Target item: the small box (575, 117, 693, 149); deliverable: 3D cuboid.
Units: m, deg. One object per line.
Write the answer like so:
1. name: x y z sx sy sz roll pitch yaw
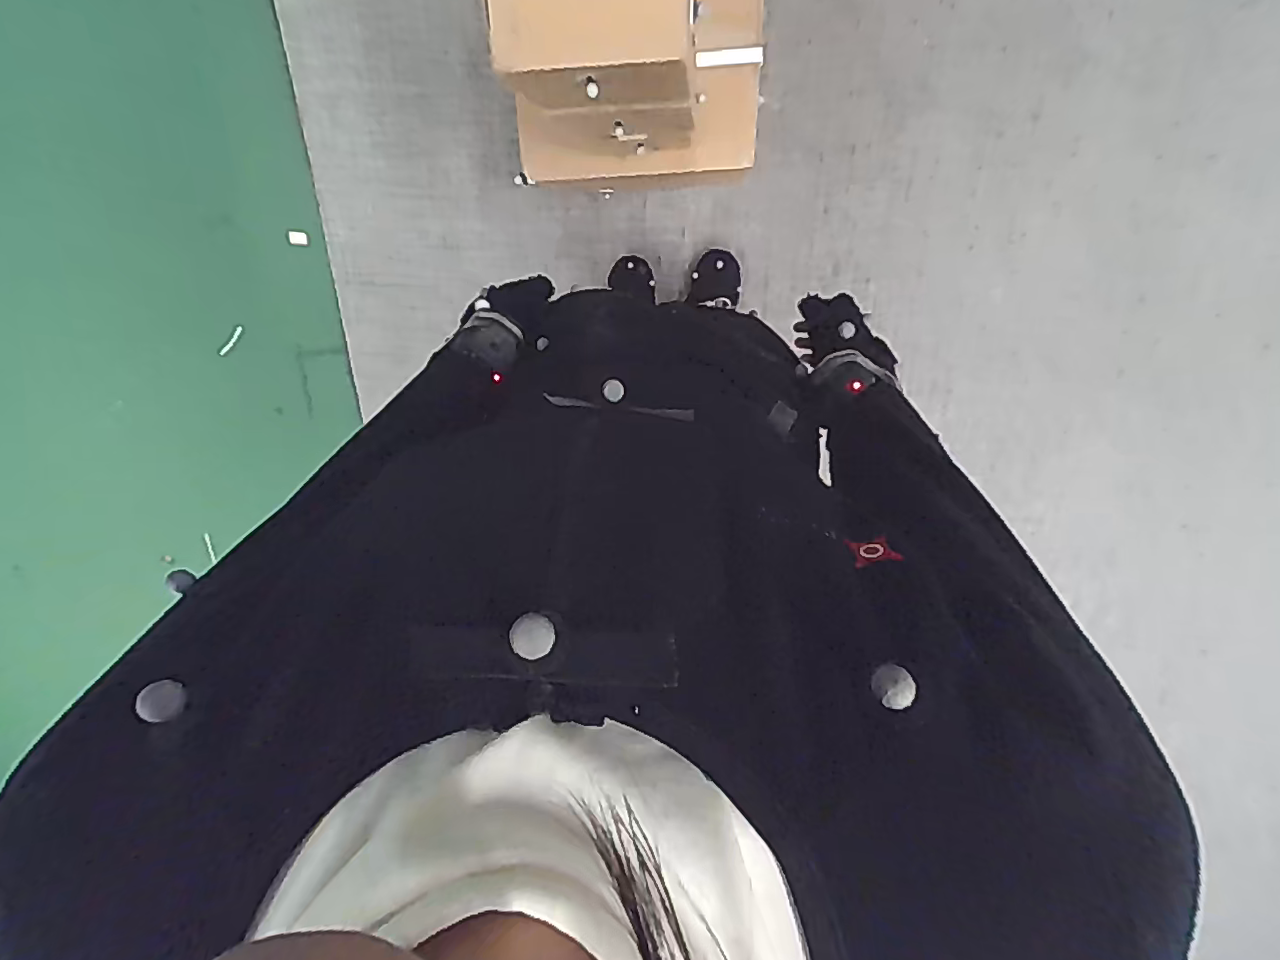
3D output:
1. small box: -0.007 -0.606 0.808 0.168 0.176 0.179 0 115 9

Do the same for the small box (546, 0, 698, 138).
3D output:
1. small box: -0.020 -0.532 0.661 0.179 0.176 0.168 -1 114 8

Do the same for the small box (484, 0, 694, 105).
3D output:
1. small box: -0.040 -0.472 0.512 0.179 0.176 0.168 1 116 7
